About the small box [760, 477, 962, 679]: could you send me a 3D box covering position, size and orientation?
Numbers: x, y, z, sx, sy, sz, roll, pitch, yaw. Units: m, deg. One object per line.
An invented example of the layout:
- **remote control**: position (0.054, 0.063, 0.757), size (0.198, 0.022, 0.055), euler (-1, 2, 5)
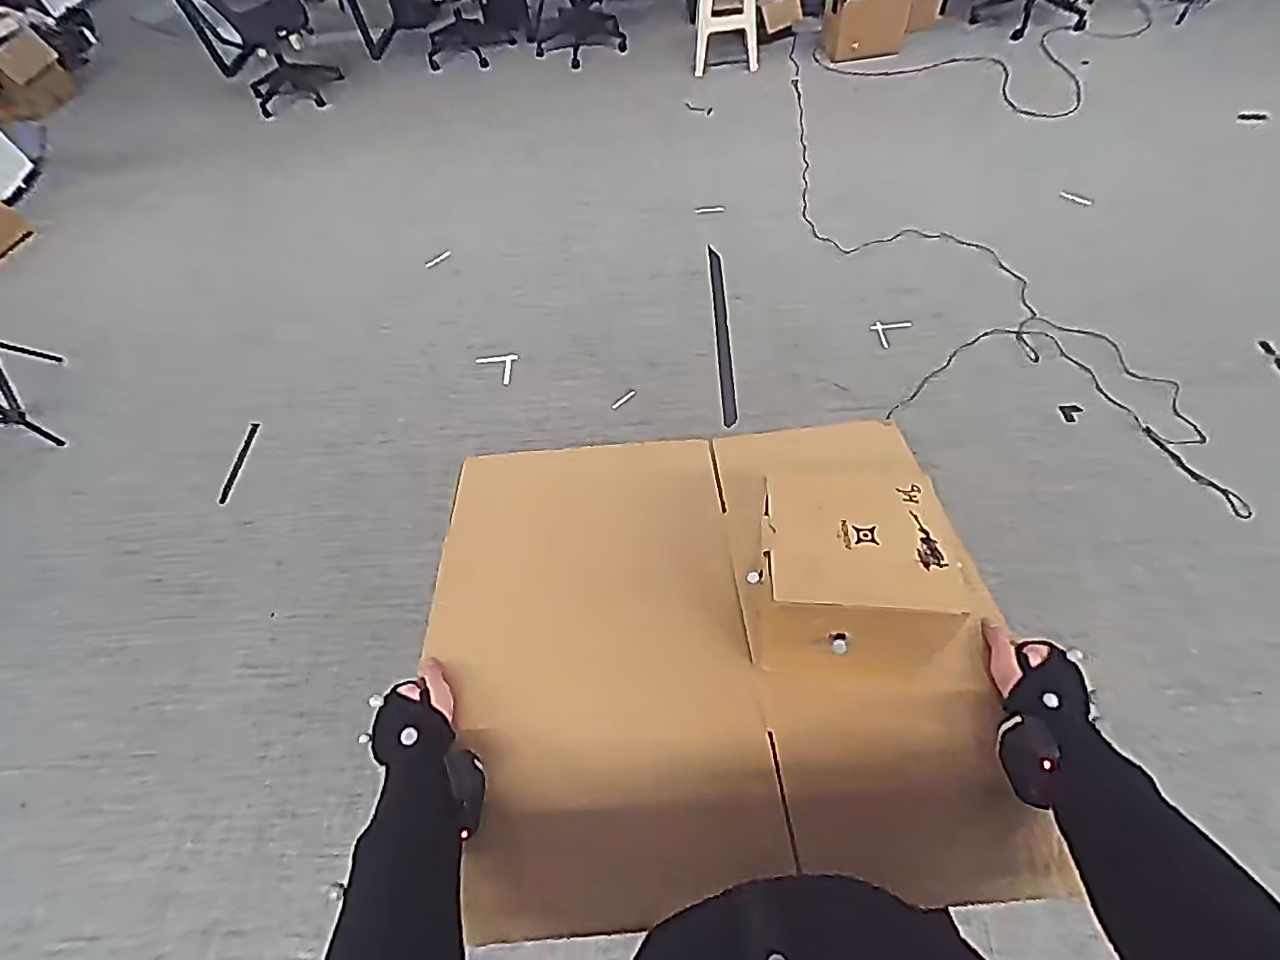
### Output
- **small box**: position (0.227, 0.113, 0.612), size (0.179, 0.176, 0.168), euler (0, 49, 10)
